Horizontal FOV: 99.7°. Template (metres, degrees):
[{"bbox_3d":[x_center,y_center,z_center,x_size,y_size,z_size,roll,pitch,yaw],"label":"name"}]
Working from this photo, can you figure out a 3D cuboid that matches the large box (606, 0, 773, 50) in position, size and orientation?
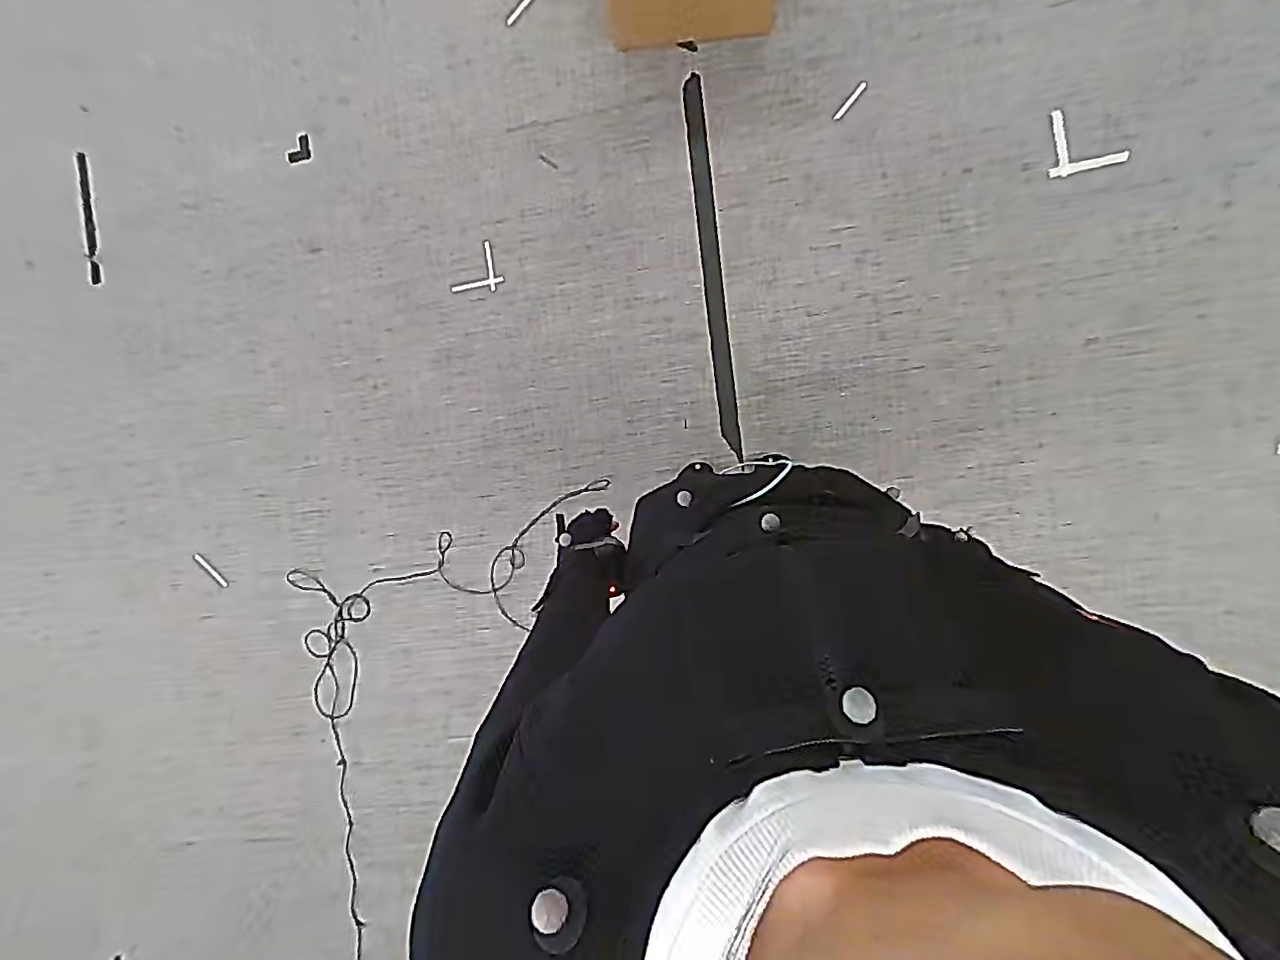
[{"bbox_3d":[0.111,-1.283,1.255,0.408,0.320,0.320,-1,93,6],"label":"large box"}]
